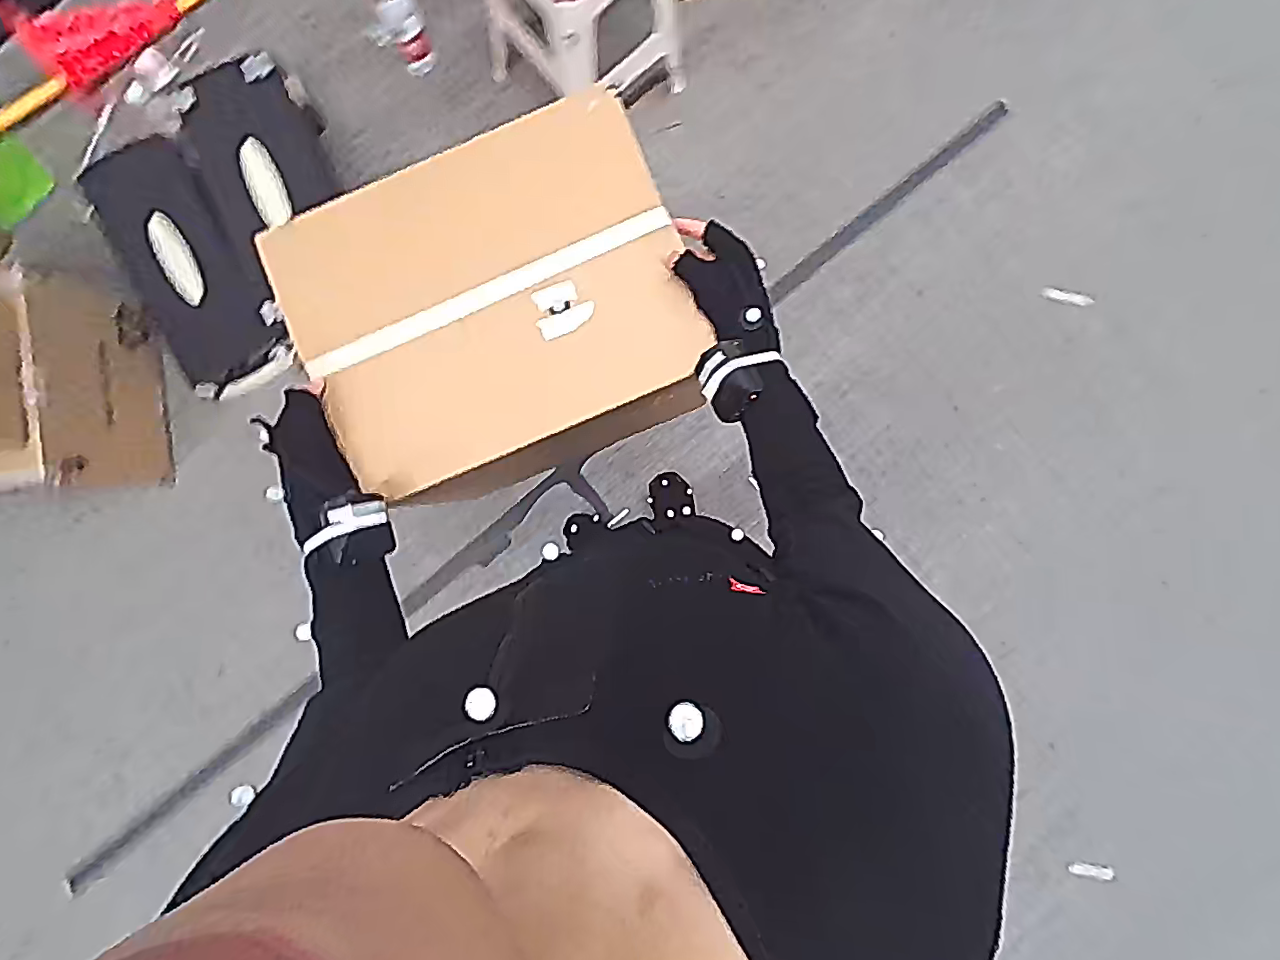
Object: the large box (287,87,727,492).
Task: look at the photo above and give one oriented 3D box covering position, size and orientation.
[{"bbox_3d":[-0.142,-0.199,0.723,0.408,0.320,0.320,-22,89,2],"label":"large box"}]
